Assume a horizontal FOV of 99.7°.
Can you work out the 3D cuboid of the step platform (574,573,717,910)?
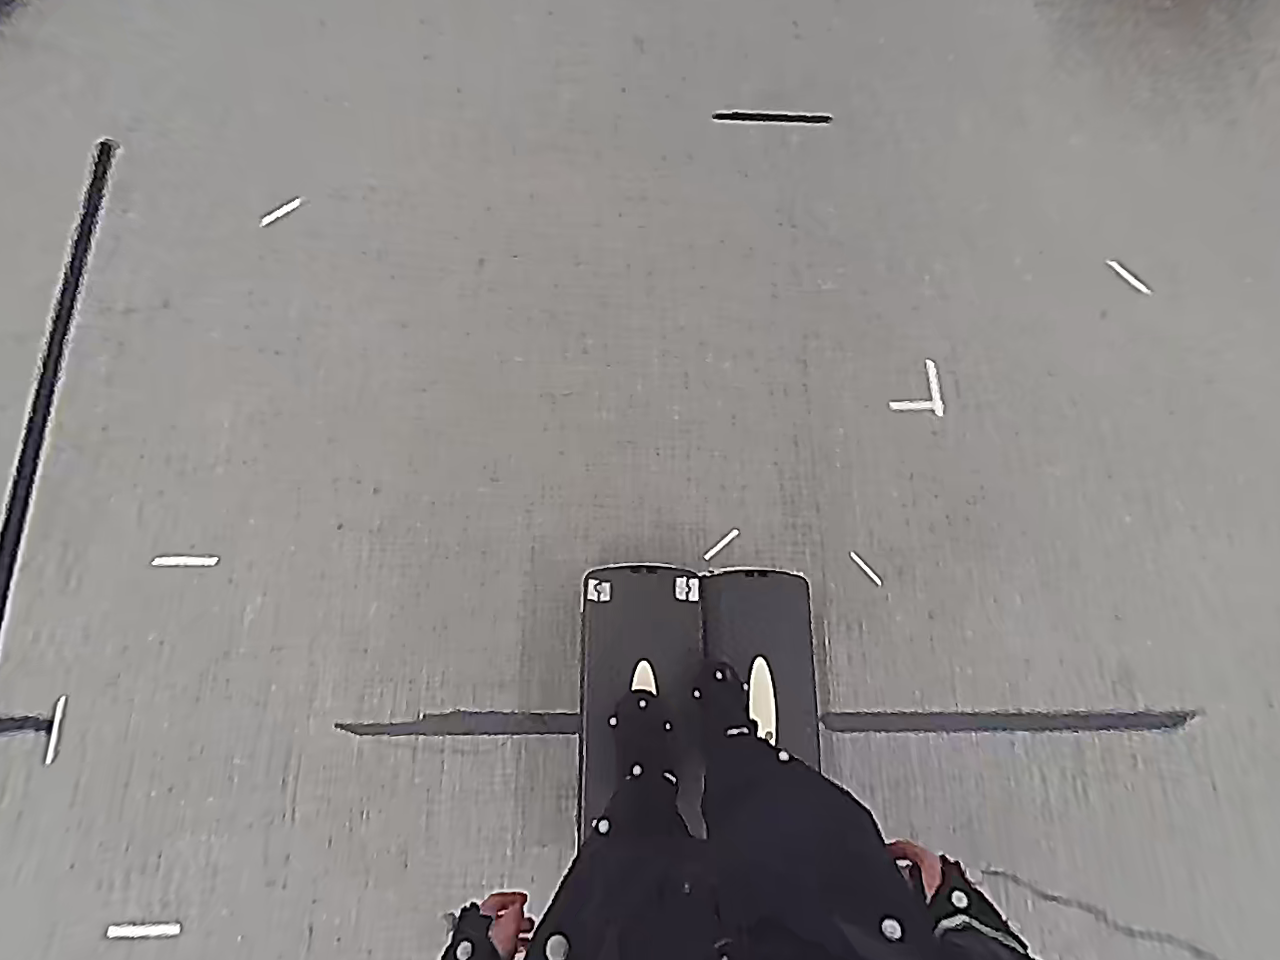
[{"bbox_3d":[0.019,0.559,1.243,0.286,0.204,0.684,4,74,-3],"label":"step platform"}]
